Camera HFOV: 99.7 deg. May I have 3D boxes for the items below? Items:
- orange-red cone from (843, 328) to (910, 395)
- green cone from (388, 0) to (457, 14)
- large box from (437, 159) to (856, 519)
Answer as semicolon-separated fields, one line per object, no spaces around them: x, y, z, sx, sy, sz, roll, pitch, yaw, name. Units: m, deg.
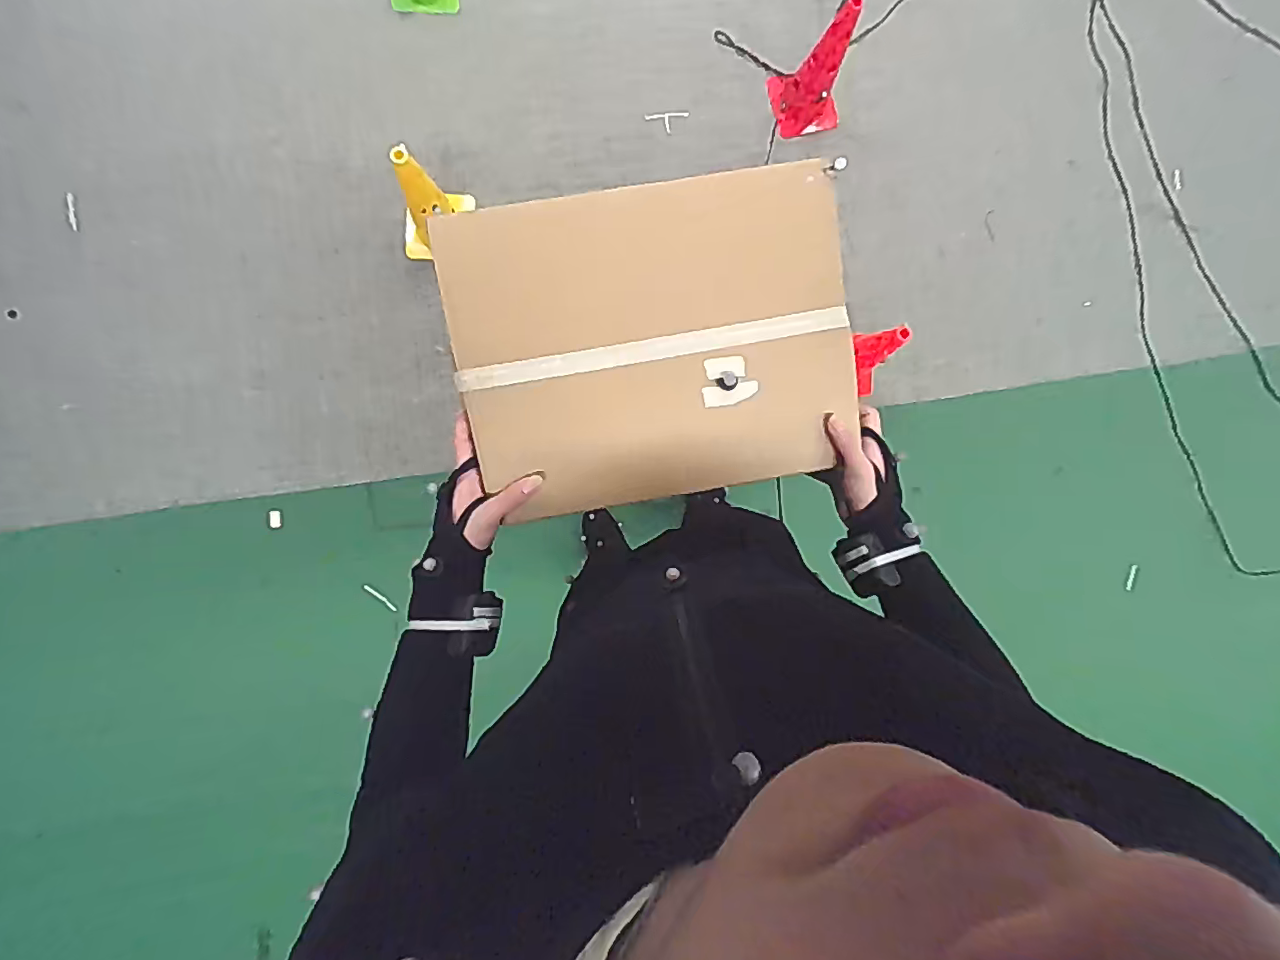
0.649;-0.367;1.538;0.199;0.360;0.198;-1;90;-6;orange-red cone
-0.643;-1.503;1.453;0.200;0.368;0.202;-3;90;-5;green cone
0.006;-0.162;0.709;0.408;0.320;0.320;-10;100;-3;large box
